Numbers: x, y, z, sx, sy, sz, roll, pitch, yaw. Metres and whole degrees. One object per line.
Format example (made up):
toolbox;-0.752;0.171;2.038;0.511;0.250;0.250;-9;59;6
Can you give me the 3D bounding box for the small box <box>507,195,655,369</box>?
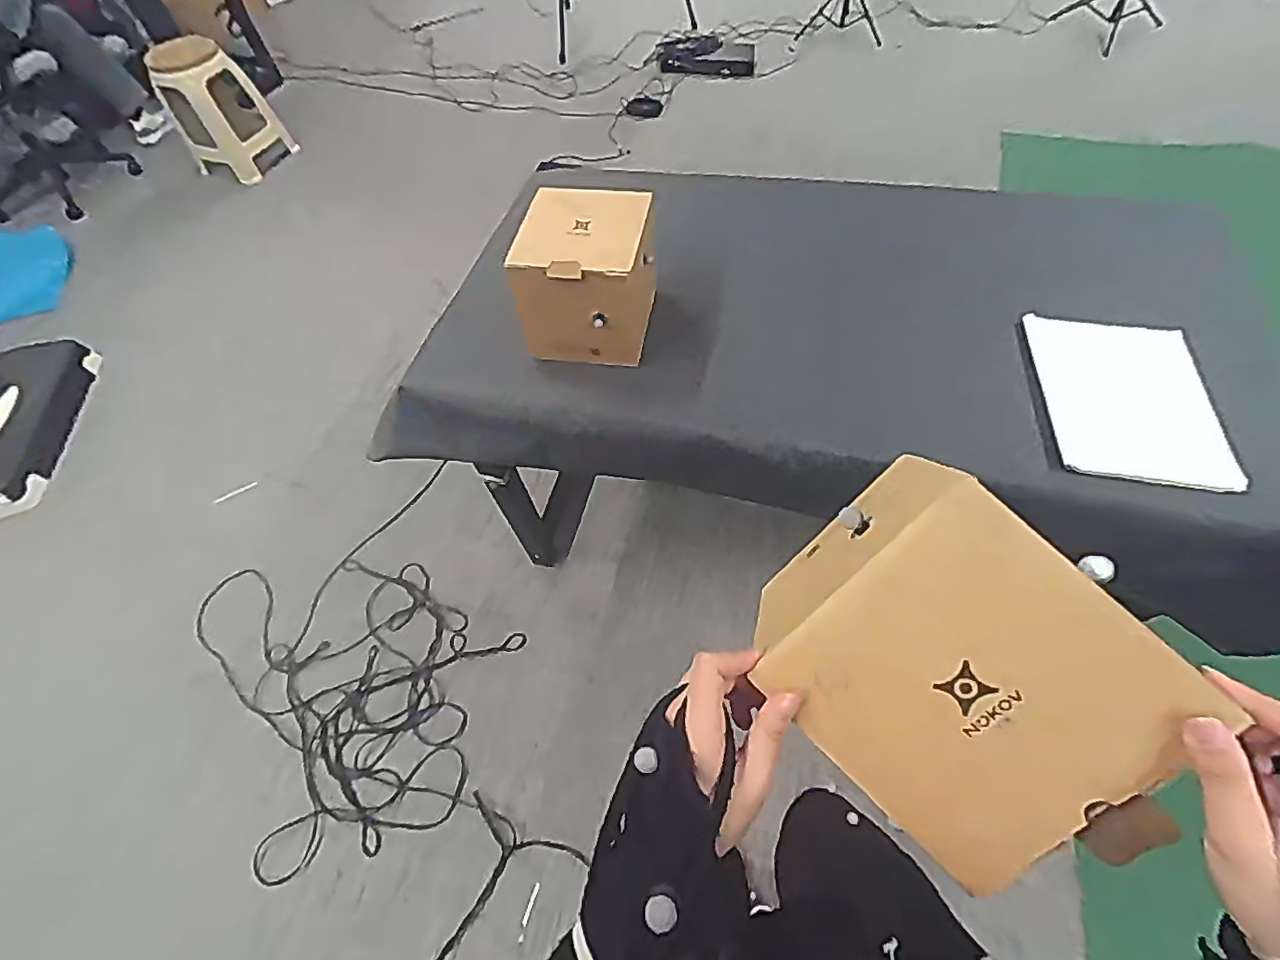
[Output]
small box;-0.071;-0.283;0.784;0.168;0.176;0.179;7;57;7
